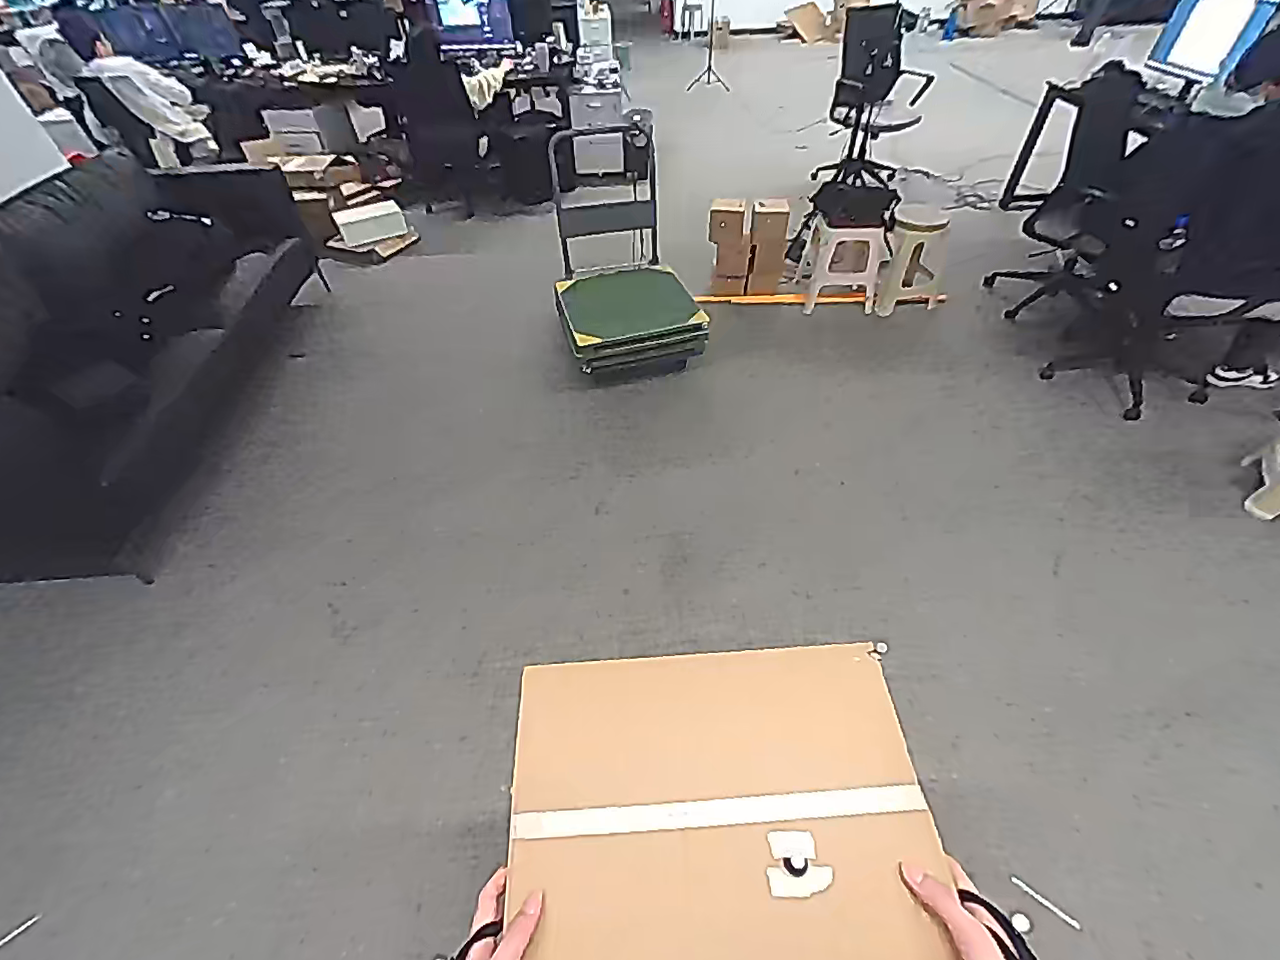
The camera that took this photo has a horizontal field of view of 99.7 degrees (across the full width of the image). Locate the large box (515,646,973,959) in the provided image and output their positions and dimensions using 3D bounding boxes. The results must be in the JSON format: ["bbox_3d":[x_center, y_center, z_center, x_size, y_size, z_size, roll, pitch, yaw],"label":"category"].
[{"bbox_3d":[0.084,0.423,0.654,0.408,0.320,0.320,-4,53,0],"label":"large box"}]
